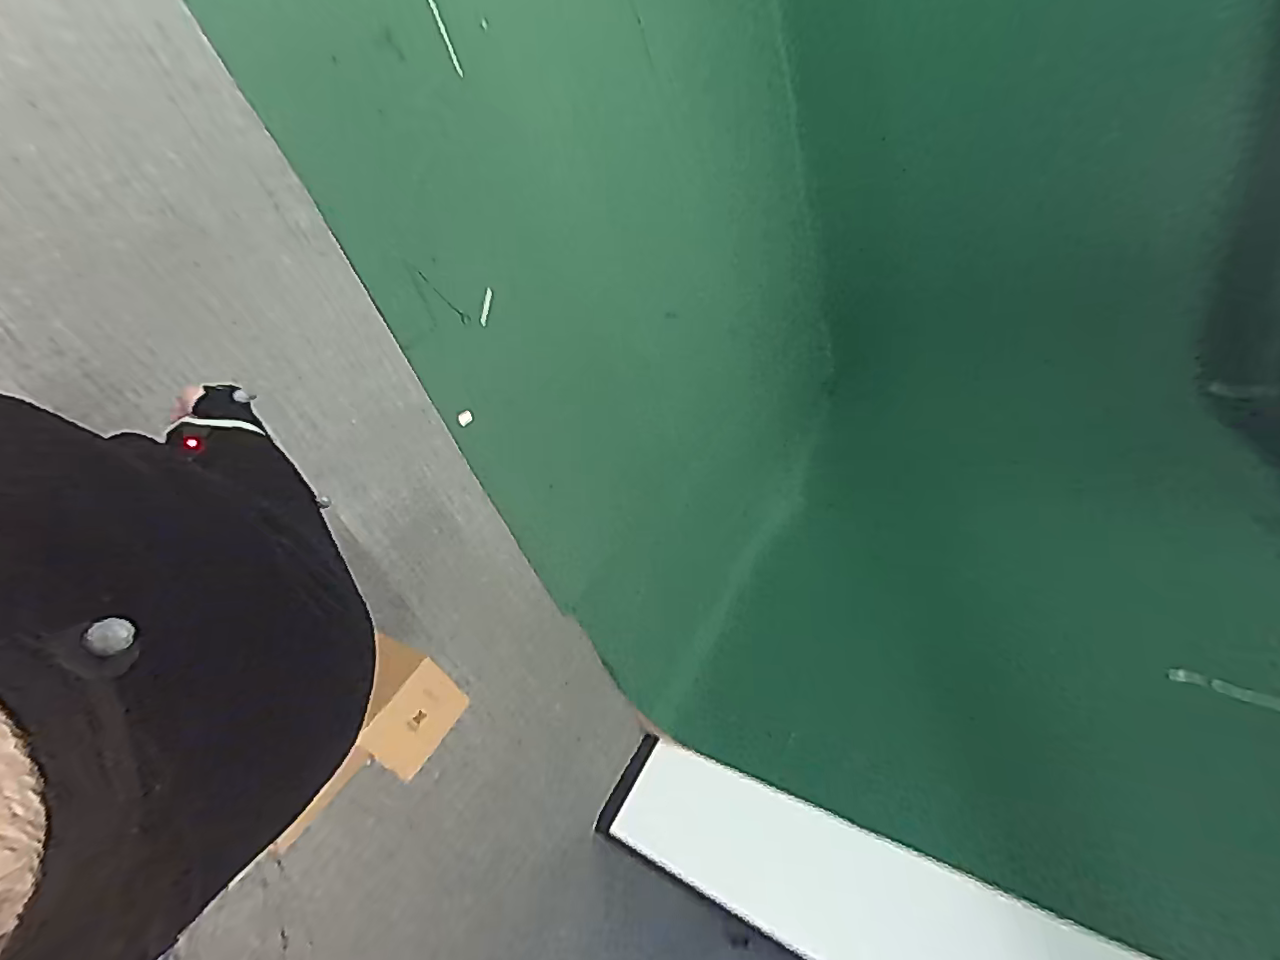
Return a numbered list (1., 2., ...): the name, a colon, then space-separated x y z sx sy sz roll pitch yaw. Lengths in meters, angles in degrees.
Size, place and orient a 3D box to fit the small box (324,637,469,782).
1. small box: -0.480 0.440 1.057 0.179 0.176 0.168 -52 134 -35
